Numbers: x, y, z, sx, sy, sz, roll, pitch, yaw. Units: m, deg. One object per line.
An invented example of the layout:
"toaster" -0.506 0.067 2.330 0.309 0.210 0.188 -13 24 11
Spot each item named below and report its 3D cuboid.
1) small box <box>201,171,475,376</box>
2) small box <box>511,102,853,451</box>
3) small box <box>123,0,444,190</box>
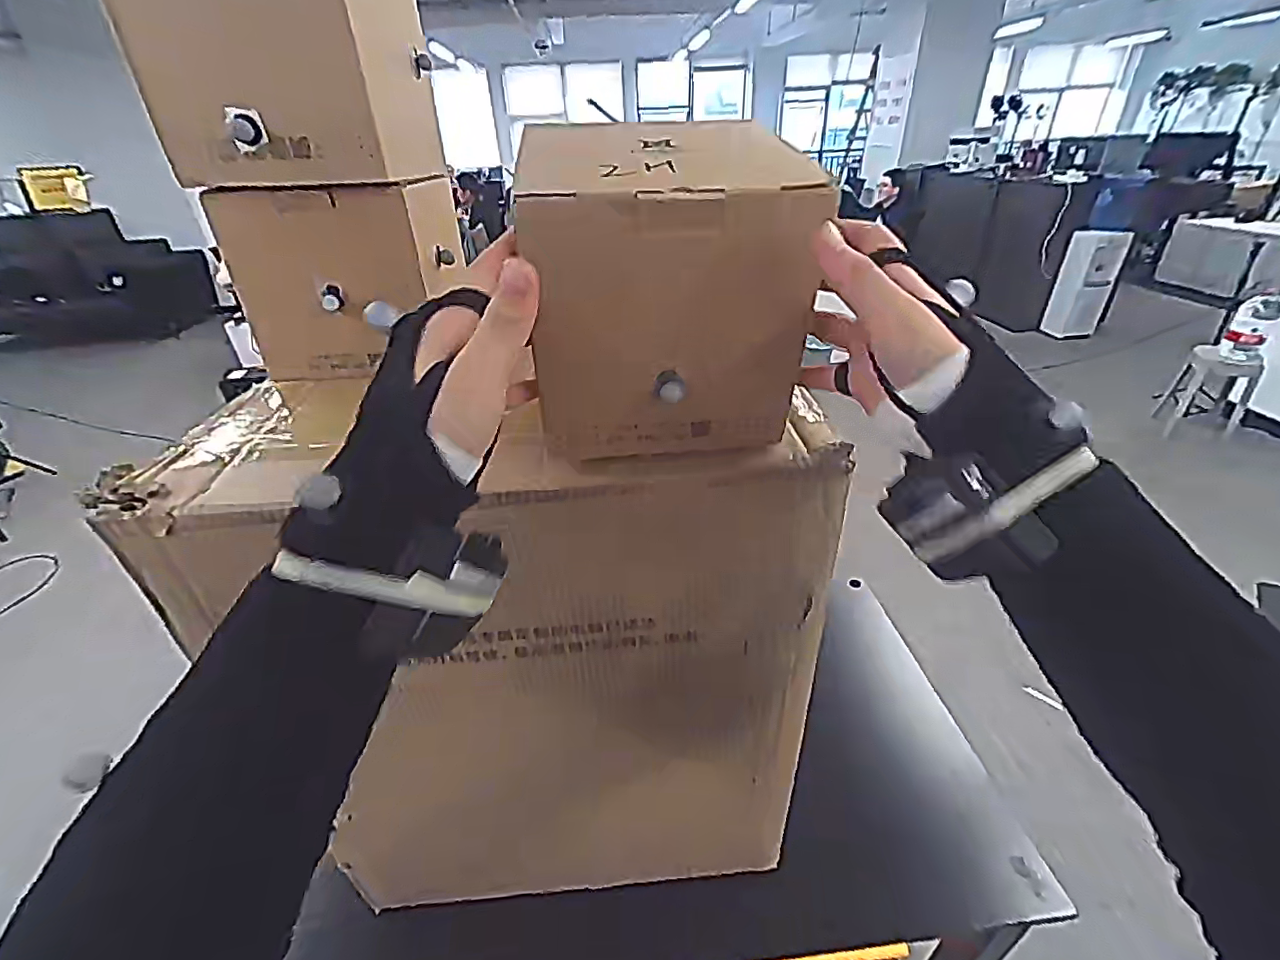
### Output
"small box" -0.276 -0.210 0.549 0.168 0.176 0.179 -4 32 -3
"small box" 0.012 -0.139 0.367 0.168 0.176 0.179 -4 45 -5
"small box" -0.277 -0.341 0.450 0.168 0.176 0.179 -4 32 -1
